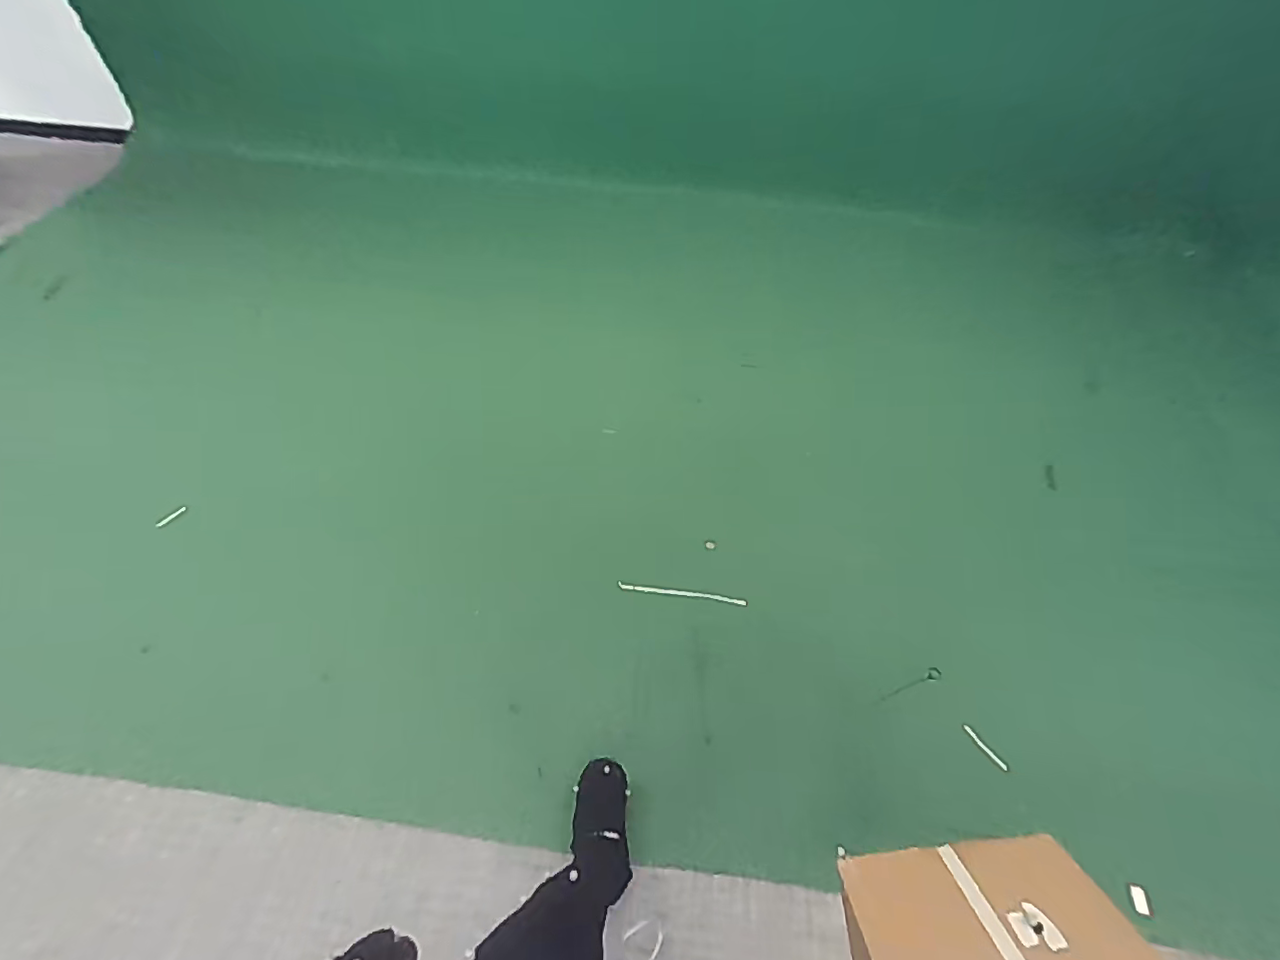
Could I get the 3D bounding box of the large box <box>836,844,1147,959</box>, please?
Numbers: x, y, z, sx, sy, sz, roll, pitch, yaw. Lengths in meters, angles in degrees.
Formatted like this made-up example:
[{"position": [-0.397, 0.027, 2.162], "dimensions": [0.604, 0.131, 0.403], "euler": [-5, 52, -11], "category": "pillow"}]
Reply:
[{"position": [0.462, 0.729, 0.623], "dimensions": [0.320, 0.408, 0.320], "euler": [-9, 95, 4], "category": "large box"}]
